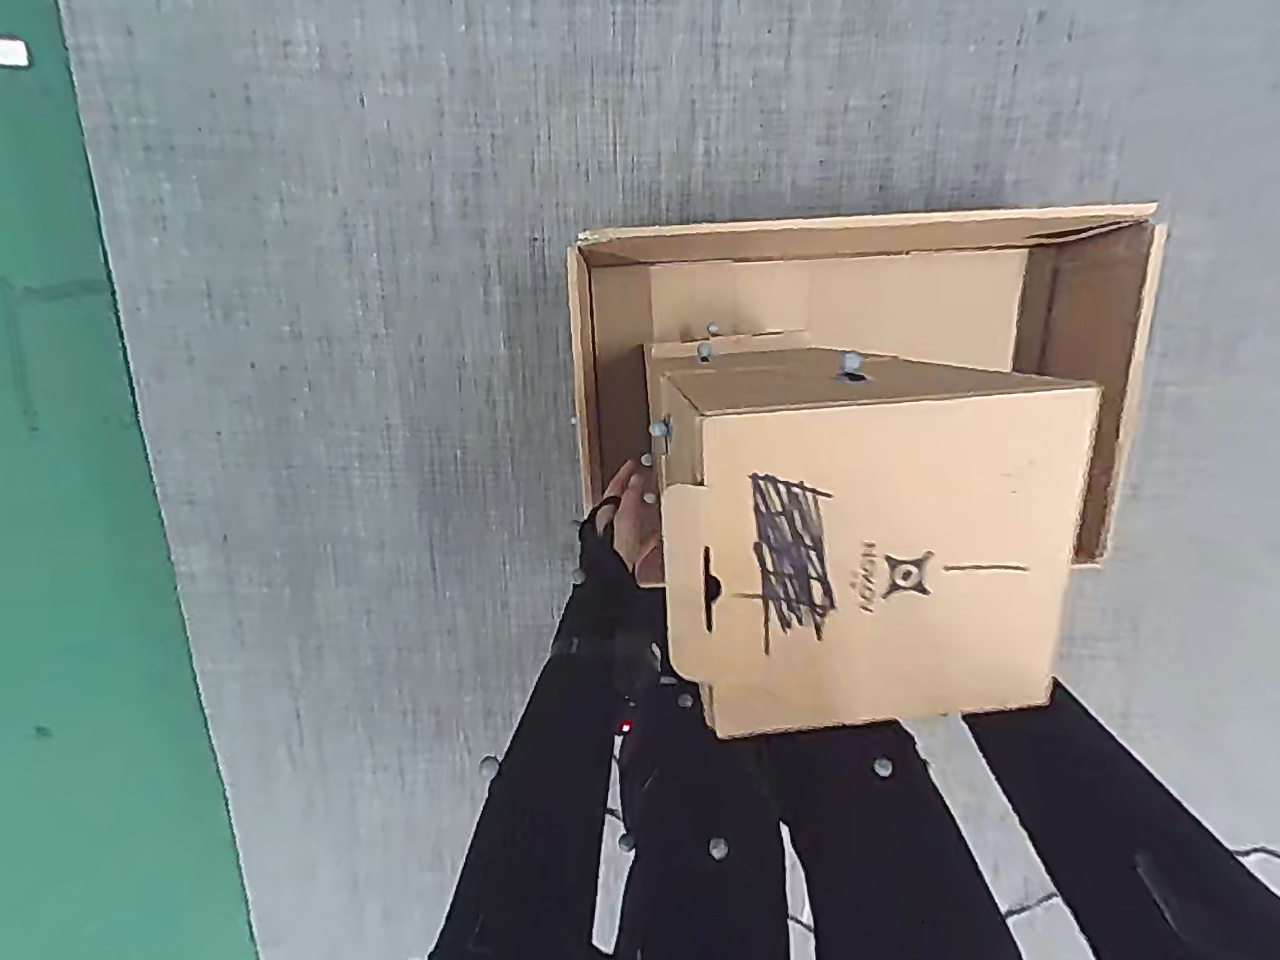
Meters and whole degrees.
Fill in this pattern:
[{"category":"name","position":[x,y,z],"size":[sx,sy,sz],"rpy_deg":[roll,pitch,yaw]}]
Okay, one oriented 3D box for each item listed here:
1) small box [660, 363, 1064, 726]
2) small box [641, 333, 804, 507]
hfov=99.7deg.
[{"category":"small box","position":[0.105,0.021,0.336],"size":[0.179,0.176,0.168],"rpy_deg":[-5,107,0]},{"category":"small box","position":[0.091,-0.080,0.647],"size":[0.168,0.176,0.179],"rpy_deg":[-6,104,0]}]
